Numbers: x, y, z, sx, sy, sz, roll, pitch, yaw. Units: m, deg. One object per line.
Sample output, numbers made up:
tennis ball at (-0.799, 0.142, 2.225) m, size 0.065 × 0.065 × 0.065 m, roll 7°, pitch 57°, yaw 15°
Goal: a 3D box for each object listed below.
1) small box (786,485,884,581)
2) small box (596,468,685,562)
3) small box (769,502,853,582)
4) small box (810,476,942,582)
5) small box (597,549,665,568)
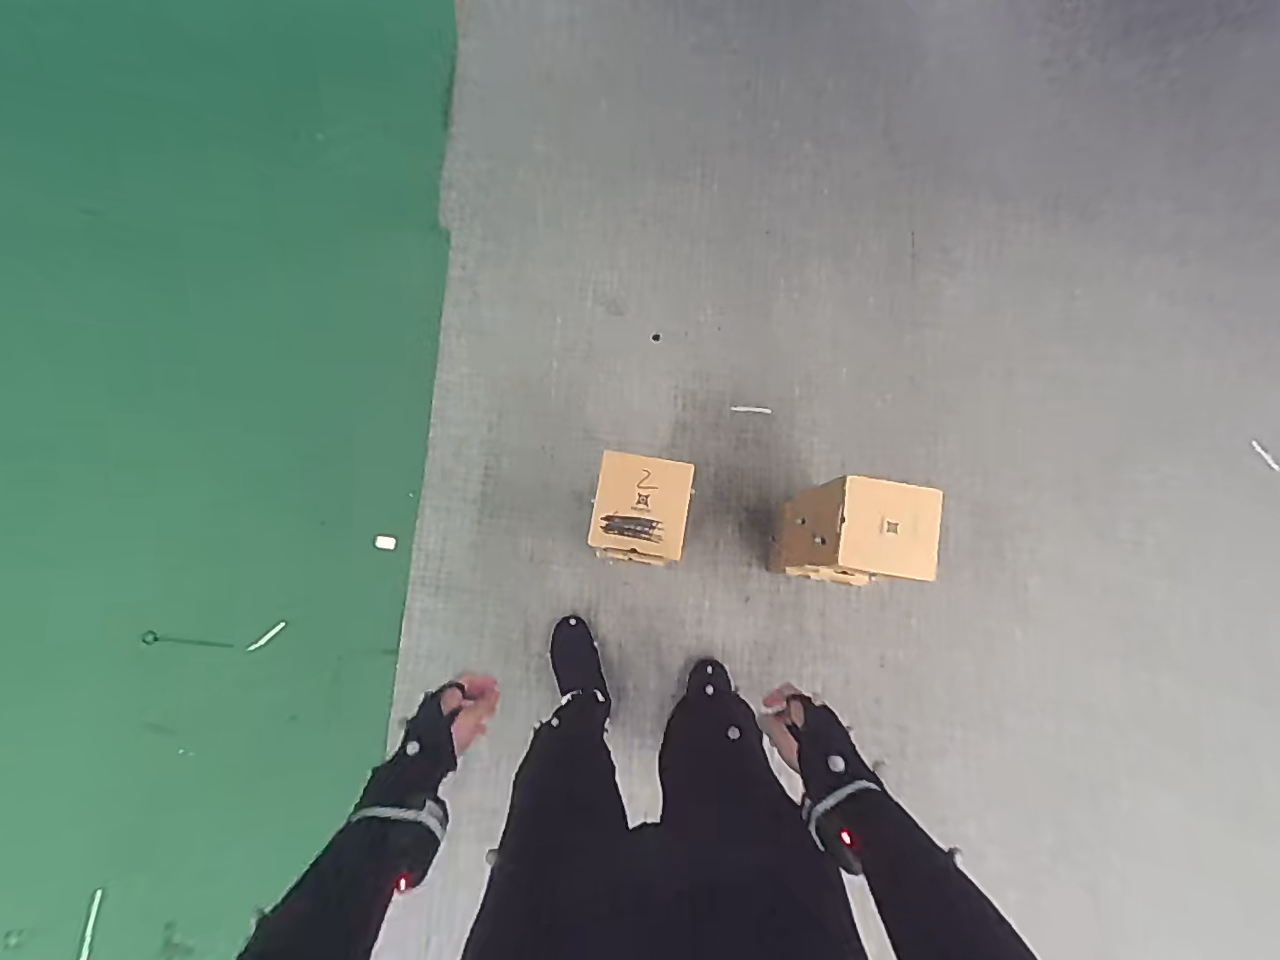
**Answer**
small box at (0.430, 0.121, 1.192) m, size 0.168 × 0.176 × 0.179 m, roll 10°, pitch 81°, yaw 2°
small box at (0.000, 0.083, 1.196) m, size 0.168 × 0.176 × 0.179 m, roll 9°, pitch 82°, yaw 0°
small box at (0.427, 0.156, 1.353) m, size 0.168 × 0.176 × 0.179 m, roll 6°, pitch 82°, yaw -1°
small box at (0.438, 0.098, 1.031) m, size 0.179 × 0.176 × 0.168 m, roll 10°, pitch 82°, yaw 1°
small box at (-0.010, 0.123, 1.369) m, size 0.168 × 0.176 × 0.179 m, roll 8°, pitch 81°, yaw 0°
